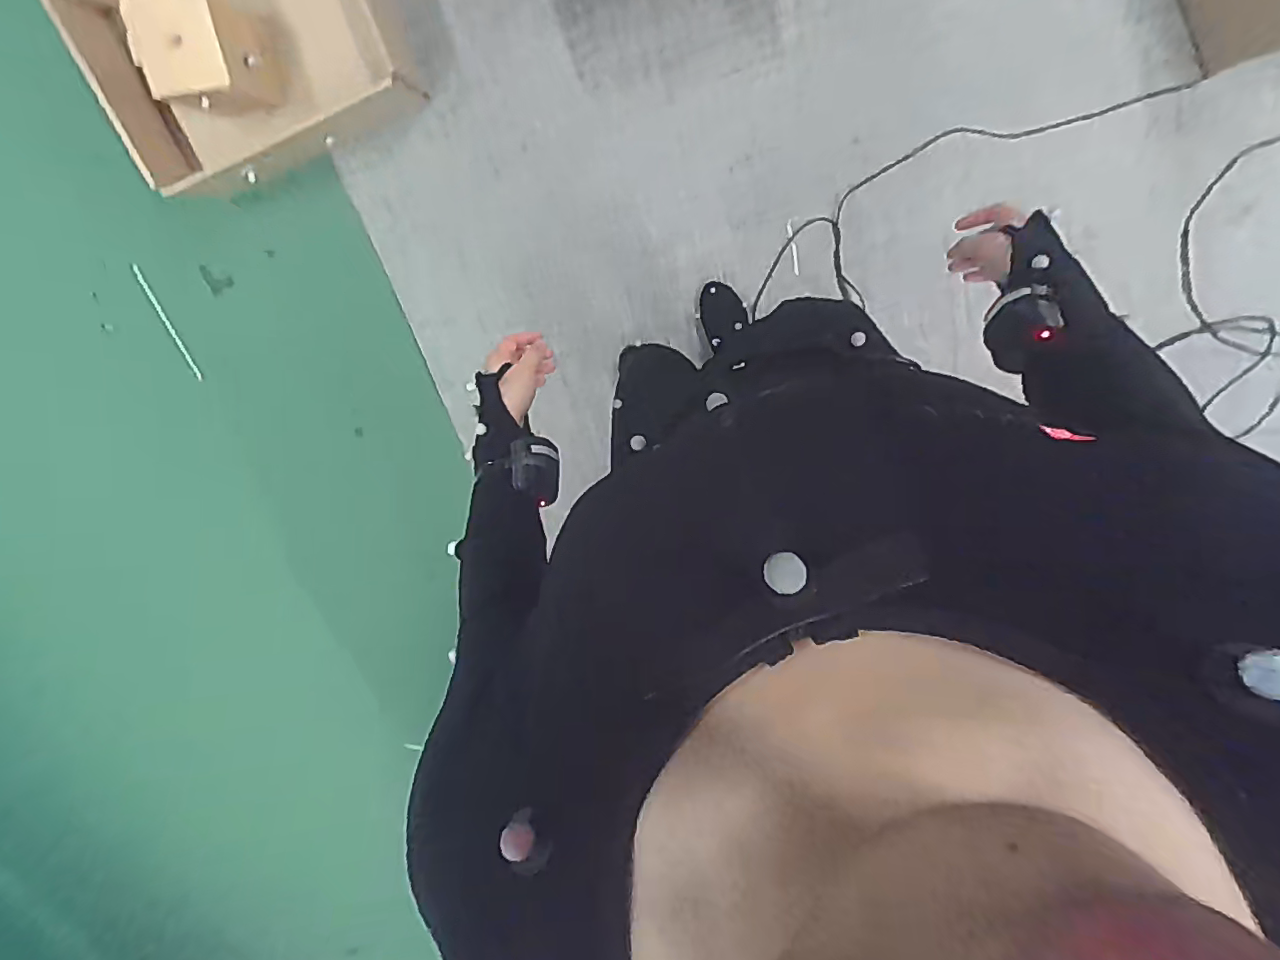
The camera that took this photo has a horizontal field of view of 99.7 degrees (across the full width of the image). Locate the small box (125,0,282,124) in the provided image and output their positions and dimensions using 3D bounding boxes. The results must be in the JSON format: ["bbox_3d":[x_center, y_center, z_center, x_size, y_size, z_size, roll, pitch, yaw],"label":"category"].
[{"bbox_3d":[-0.894,-0.871,1.134,0.179,0.176,0.168,-5,111,6],"label":"small box"}]
